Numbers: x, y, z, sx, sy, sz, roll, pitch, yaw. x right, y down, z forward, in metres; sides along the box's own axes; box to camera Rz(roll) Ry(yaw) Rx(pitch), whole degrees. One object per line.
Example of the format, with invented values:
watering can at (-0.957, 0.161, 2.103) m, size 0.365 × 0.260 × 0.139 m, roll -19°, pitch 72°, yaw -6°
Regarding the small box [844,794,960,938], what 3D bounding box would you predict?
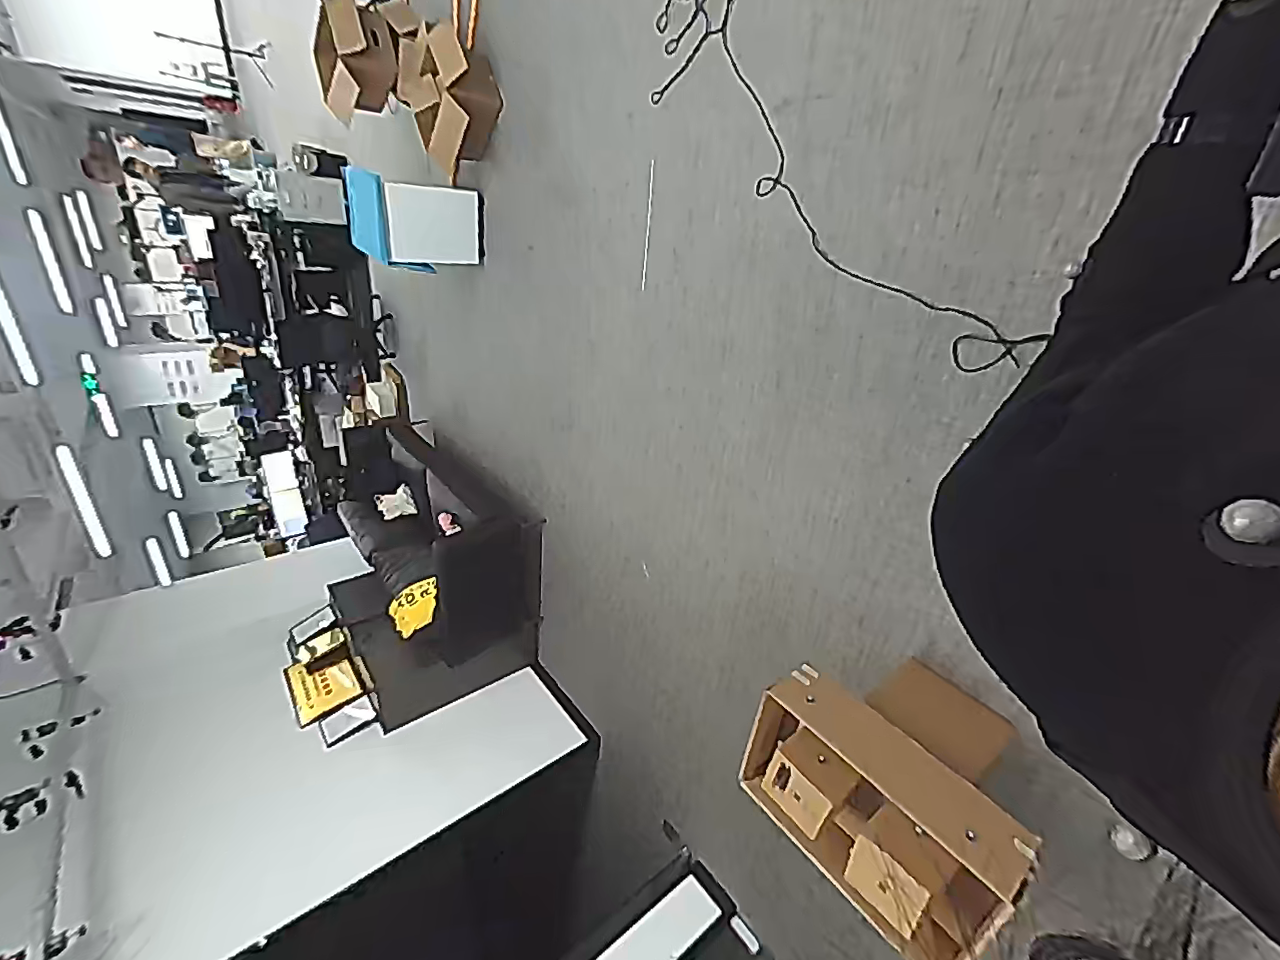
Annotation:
small box at (0.608, 0.886, 1.255) m, size 0.168 × 0.176 × 0.179 m, roll 30°, pitch 124°, yaw 44°
